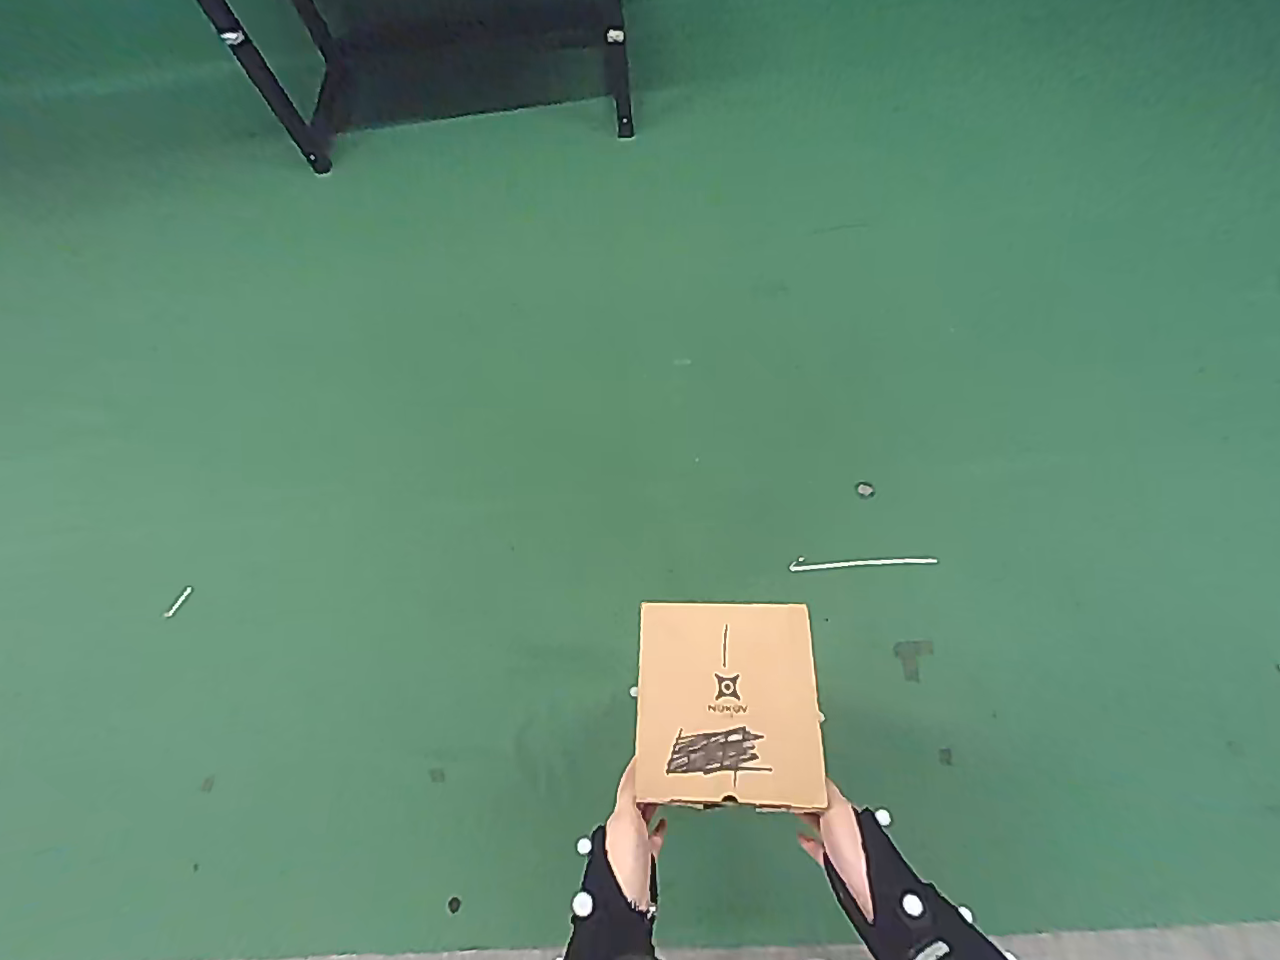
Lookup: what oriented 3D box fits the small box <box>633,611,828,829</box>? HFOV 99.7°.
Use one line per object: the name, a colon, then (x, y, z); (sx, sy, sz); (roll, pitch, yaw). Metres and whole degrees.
small box: (0.088, 0.243, 0.559); (0.168, 0.176, 0.179); (0, 63, 6)
